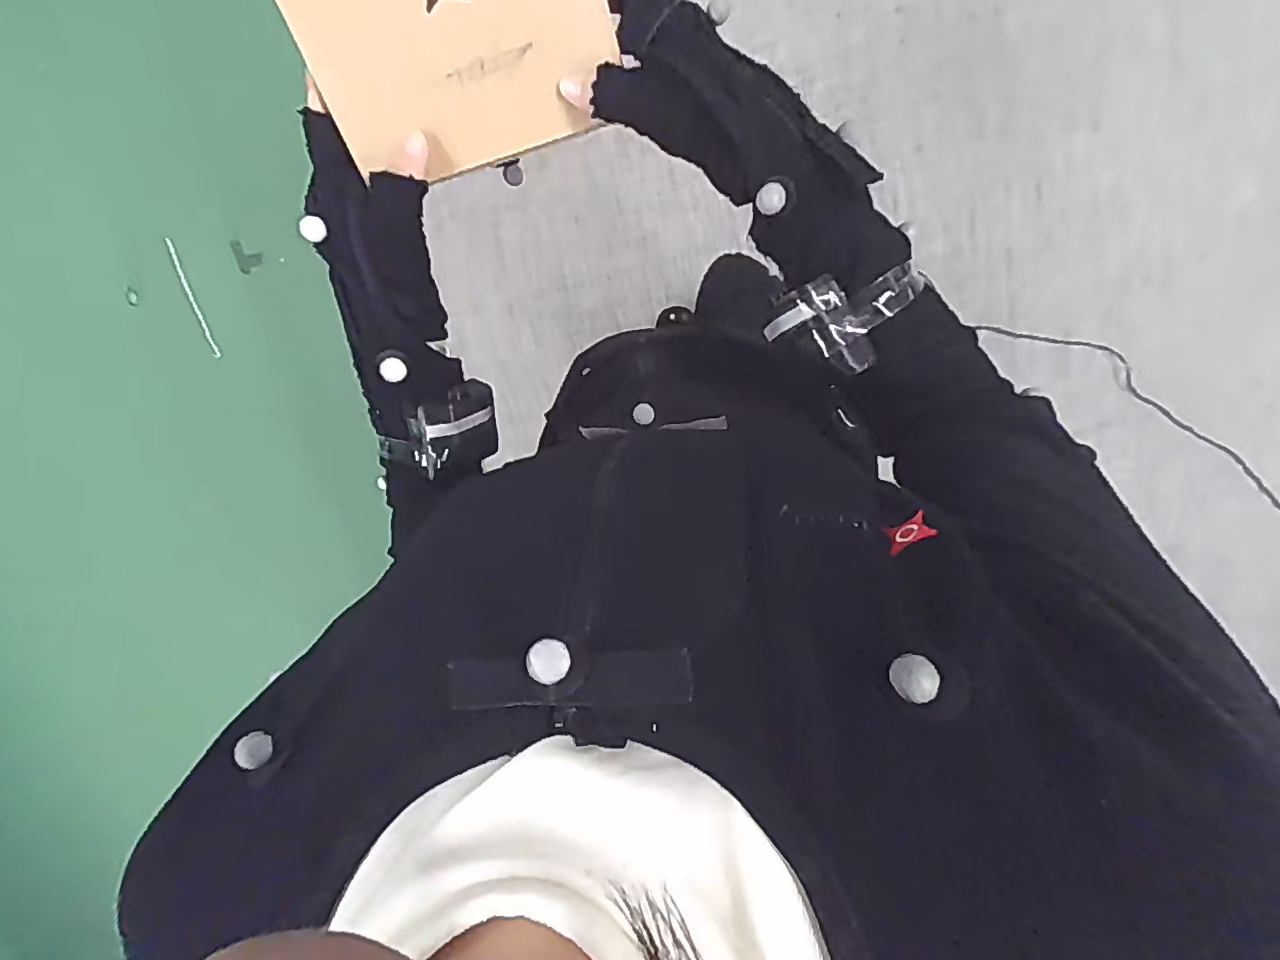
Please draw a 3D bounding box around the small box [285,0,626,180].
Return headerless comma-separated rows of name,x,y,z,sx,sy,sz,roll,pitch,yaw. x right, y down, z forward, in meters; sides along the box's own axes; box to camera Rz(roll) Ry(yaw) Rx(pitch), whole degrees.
small box,-0.116,-0.313,0.348,0.168,0.176,0.179,-16,122,4
